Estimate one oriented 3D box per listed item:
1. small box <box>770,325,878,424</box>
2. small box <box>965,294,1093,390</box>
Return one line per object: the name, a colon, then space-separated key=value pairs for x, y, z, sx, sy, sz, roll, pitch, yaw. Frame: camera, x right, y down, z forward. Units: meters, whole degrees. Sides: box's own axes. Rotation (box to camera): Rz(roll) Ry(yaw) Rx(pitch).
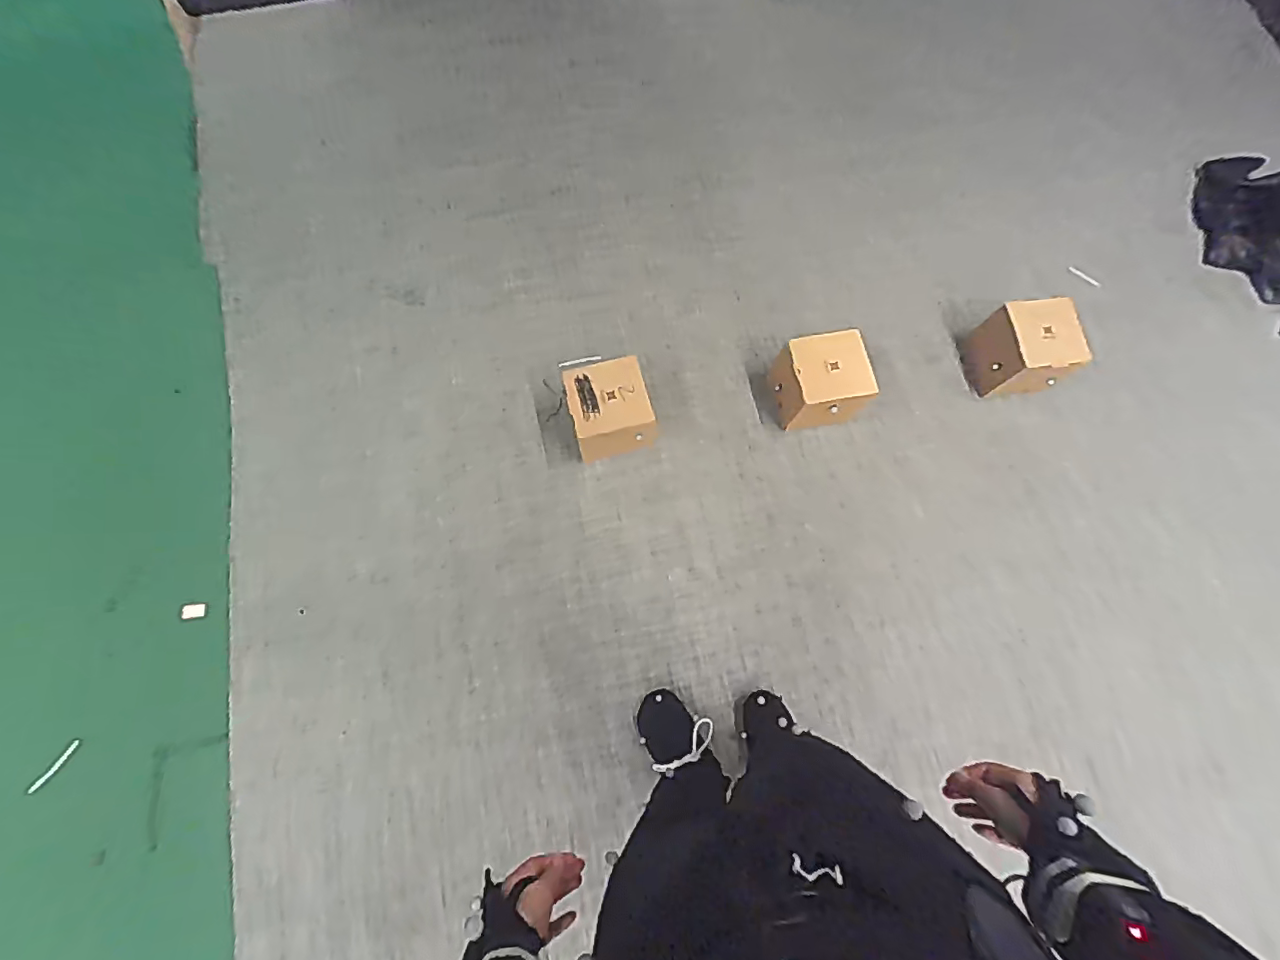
small box: x=0.431 y=-0.246 z=1.293 sx=0.179 sy=0.176 sz=0.168 roll=-10 pitch=75 yaw=-4
small box: x=0.946 y=-0.331 z=1.332 sx=0.168 sy=0.176 sz=0.179 roll=-6 pitch=74 yaw=-5
